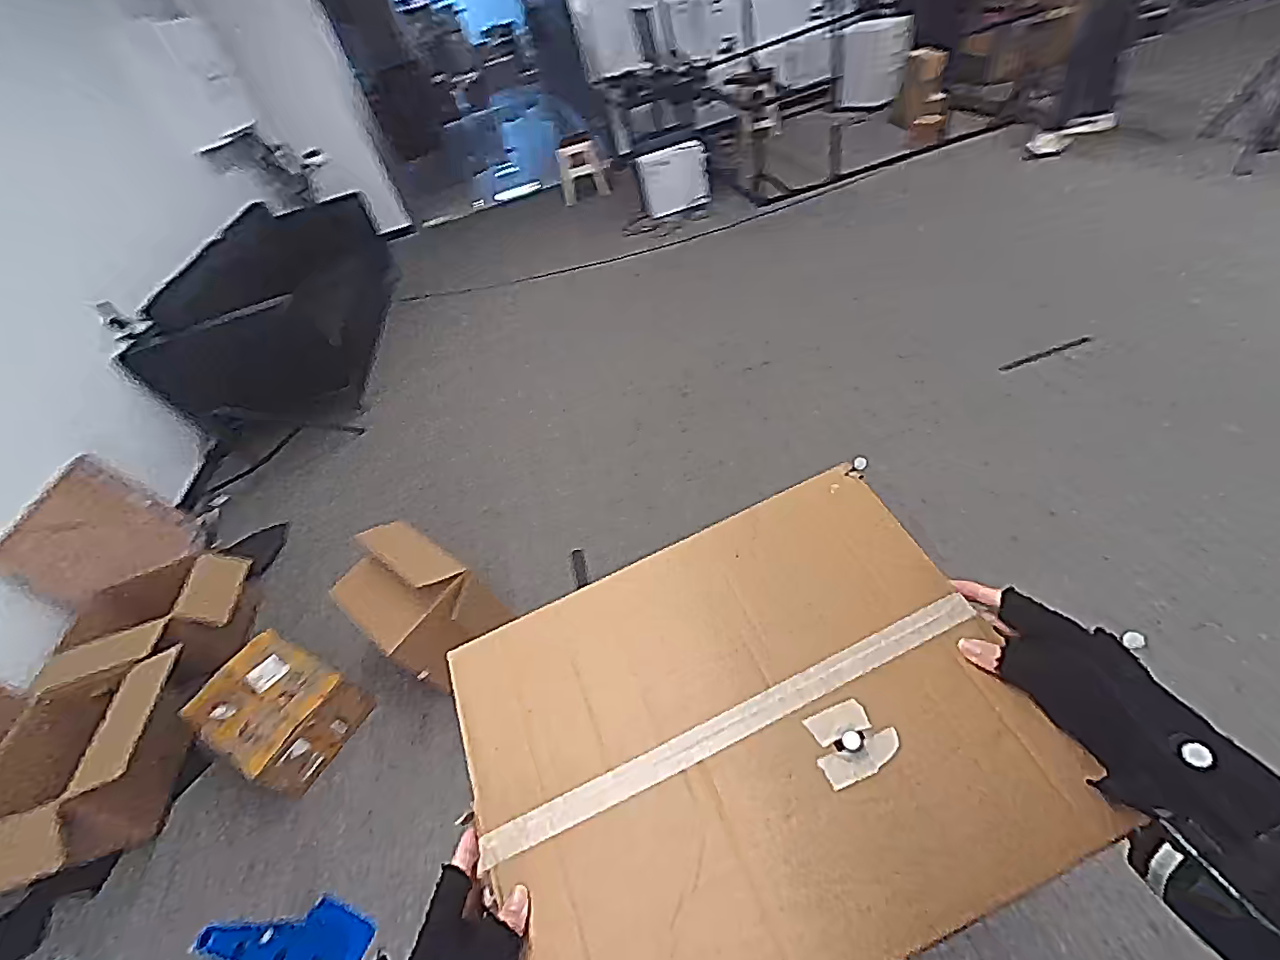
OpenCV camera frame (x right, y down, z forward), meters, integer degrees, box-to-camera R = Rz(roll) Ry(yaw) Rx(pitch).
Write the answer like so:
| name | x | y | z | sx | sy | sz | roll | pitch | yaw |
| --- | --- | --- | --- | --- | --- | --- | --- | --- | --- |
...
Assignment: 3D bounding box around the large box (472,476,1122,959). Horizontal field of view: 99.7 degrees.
| name | x | y | z | sx | sy | sz | roll | pitch | yaw |
| --- | --- | --- | --- | --- | --- | --- | --- | --- | --- |
| large box | 0.108 | 0.270 | 0.543 | 0.408 | 0.320 | 0.320 | -25 | 56 | -4 |
